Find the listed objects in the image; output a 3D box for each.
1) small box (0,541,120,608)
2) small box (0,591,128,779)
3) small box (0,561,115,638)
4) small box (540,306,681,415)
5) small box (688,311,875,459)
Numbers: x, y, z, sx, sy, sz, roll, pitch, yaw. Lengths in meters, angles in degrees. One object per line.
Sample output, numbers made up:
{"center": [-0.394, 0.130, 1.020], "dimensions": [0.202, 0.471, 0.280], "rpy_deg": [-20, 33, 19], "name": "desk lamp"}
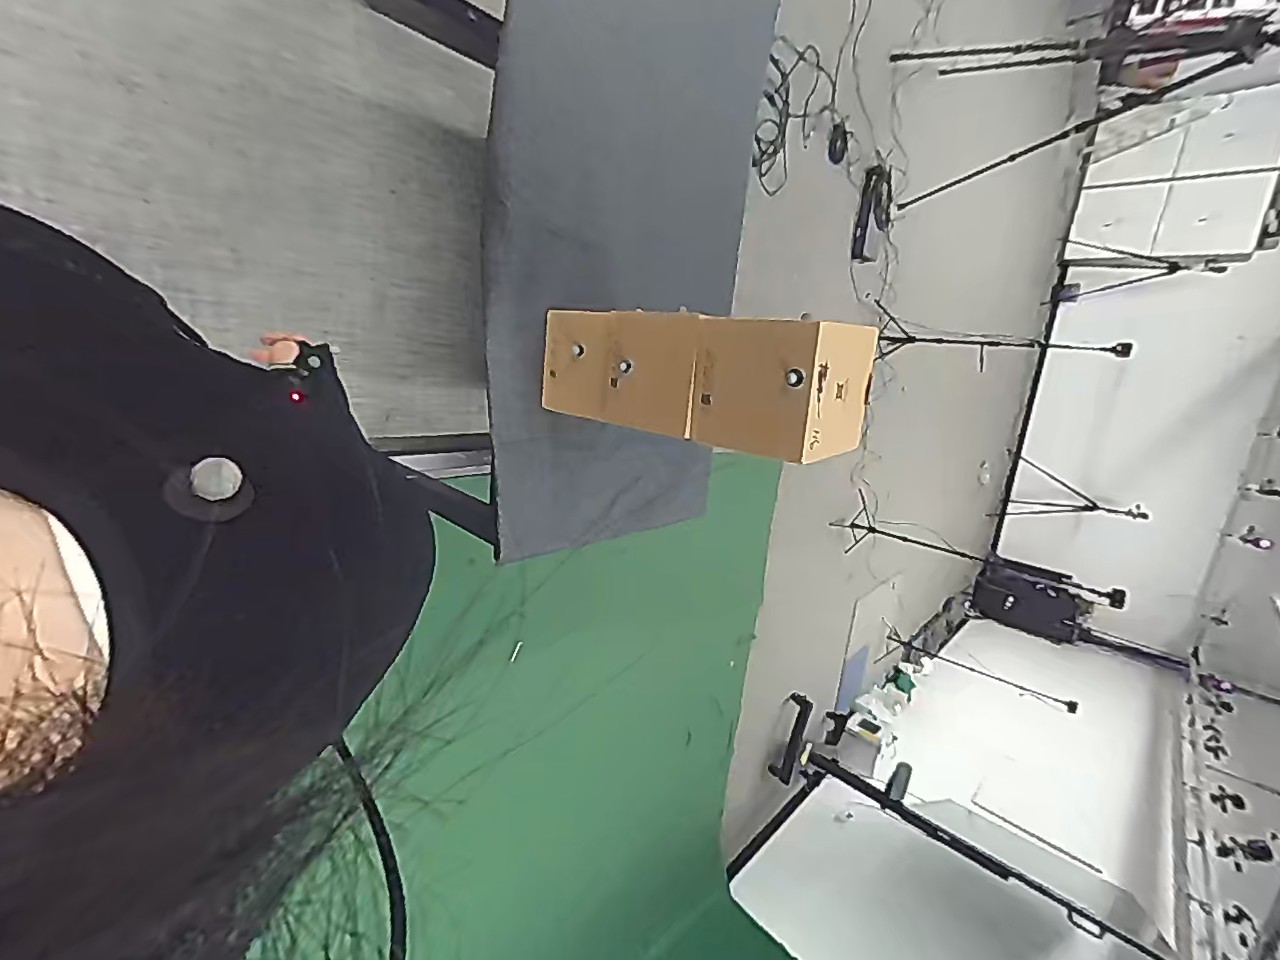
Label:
{"center": [-1.121, 0.223, 1.017], "dimensions": [0.168, 0.176, 0.179], "rpy_deg": [16, 91, -49], "name": "small box"}
{"center": [-0.901, 0.292, 0.784], "dimensions": [0.179, 0.176, 0.168], "rpy_deg": [-35, 125, -36], "name": "small box"}
{"center": [-1.025, 0.257, 0.886], "dimensions": [0.168, 0.176, 0.179], "rpy_deg": [46, 70, -44], "name": "small box"}
{"center": [-0.054, -0.202, 0.932], "dimensions": [0.179, 0.176, 0.168], "rpy_deg": [-9, 109, -48], "name": "small box"}
{"center": [0.186, -0.132, 0.720], "dimensions": [0.179, 0.176, 0.168], "rpy_deg": [-13, 112, -47], "name": "small box"}
